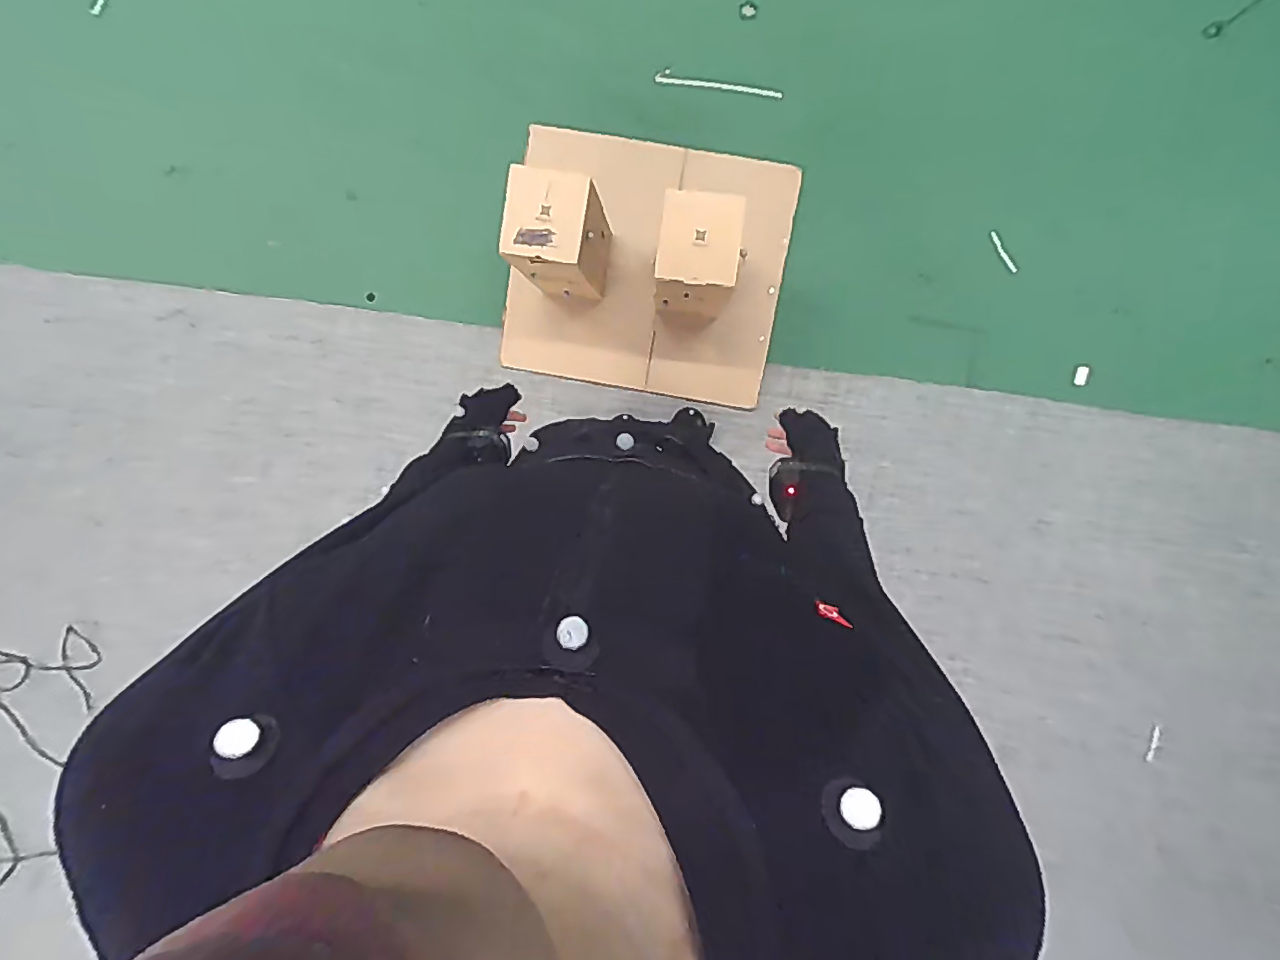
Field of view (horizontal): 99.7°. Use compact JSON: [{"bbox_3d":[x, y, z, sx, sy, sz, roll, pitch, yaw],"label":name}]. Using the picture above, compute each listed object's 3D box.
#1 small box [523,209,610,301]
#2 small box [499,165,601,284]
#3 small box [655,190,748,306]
[{"bbox_3d":[-0.171,-0.549,1.313,0.168,0.176,0.179,9,98,4],"label":"small box"},{"bbox_3d":[-0.184,-0.531,1.150,0.168,0.176,0.179,11,97,3],"label":"small box"},{"bbox_3d":[0.123,-0.481,1.142,0.168,0.176,0.179,7,97,2],"label":"small box"}]
